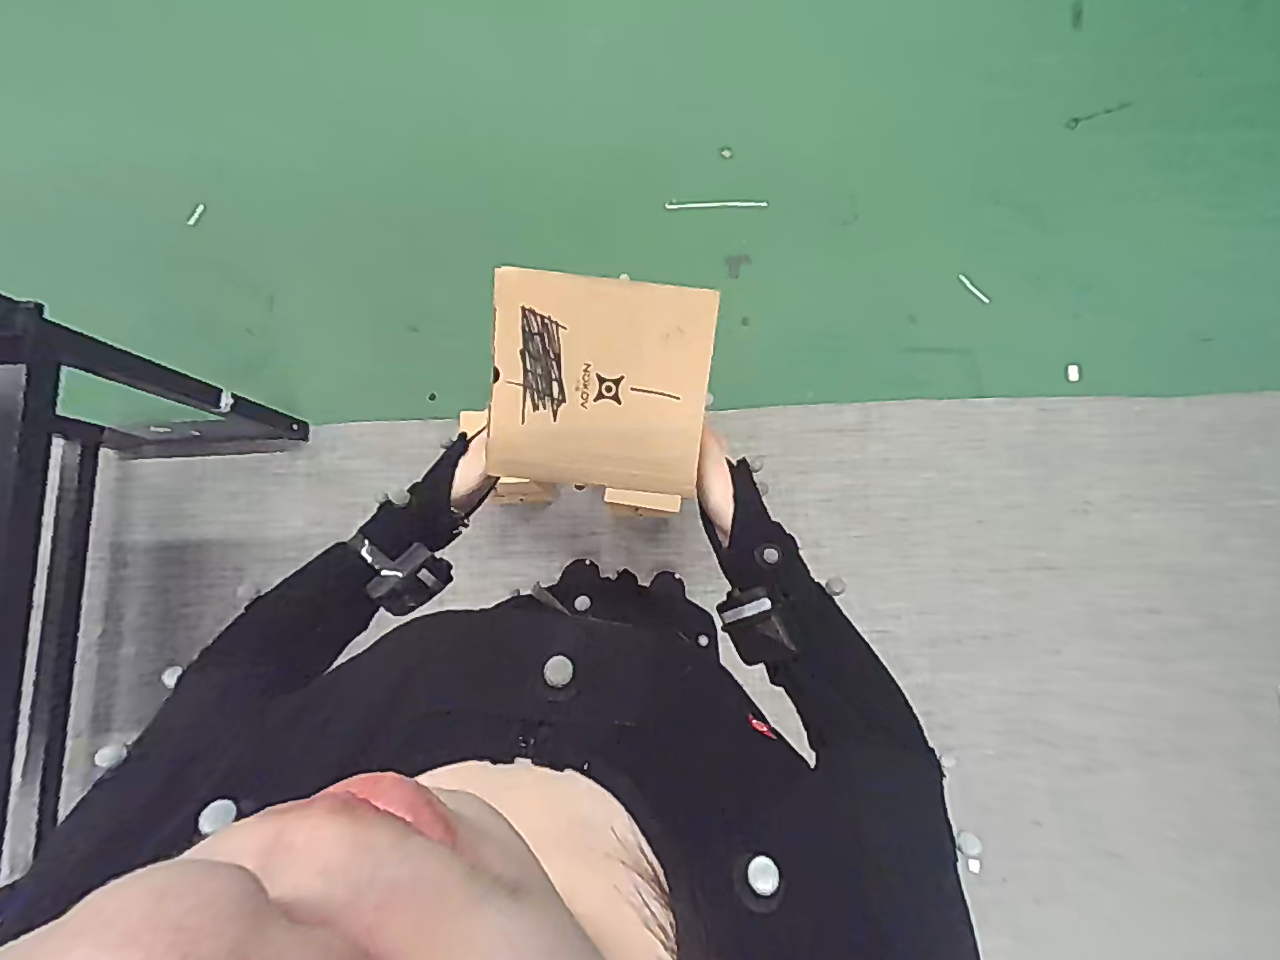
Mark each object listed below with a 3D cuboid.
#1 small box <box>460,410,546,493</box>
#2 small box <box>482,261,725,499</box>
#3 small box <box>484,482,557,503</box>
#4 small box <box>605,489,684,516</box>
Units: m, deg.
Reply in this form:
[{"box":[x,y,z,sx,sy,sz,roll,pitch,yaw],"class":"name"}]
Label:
[{"box":[-0.322,-0.063,1.301,0.168,0.176,0.179,-3,80,1],"class":"small box"},{"box":[-0.029,-0.090,0.491,0.179,0.176,0.168,6,103,0],"class":"small box"},{"box":[-0.319,-0.032,1.461,0.168,0.176,0.179,-4,82,0],"class":"small box"},{"box":[0.022,-0.009,1.286,0.179,0.176,0.168,9,83,2],"class":"small box"}]
